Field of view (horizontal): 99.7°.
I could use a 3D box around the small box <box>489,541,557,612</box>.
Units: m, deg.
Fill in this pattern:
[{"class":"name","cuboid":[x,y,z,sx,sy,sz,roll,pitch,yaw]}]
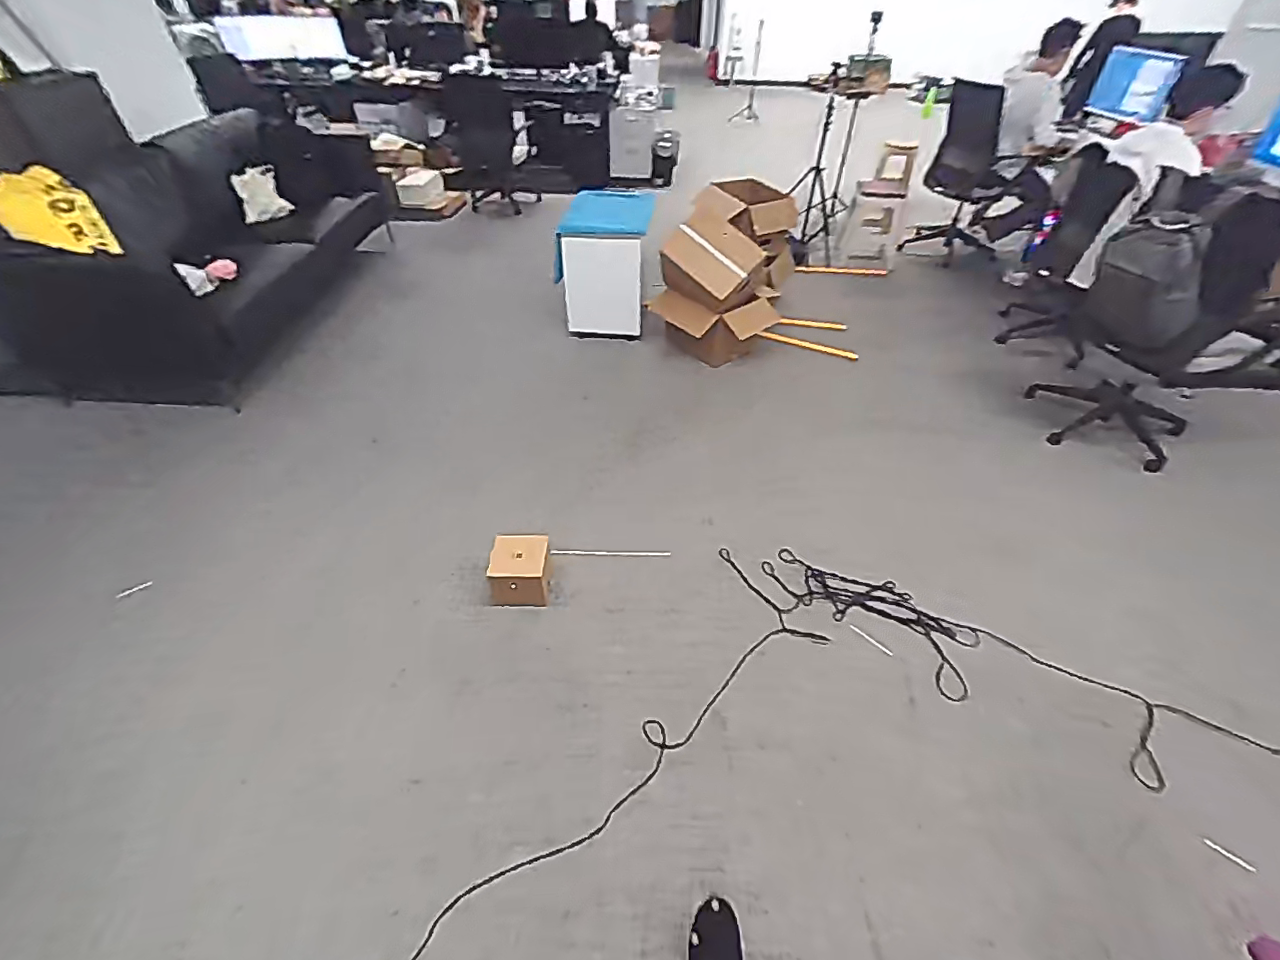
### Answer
[{"class":"small box","cuboid":[-0.375,0.316,1.768,0.179,0.176,0.168,1,43,1]}]
